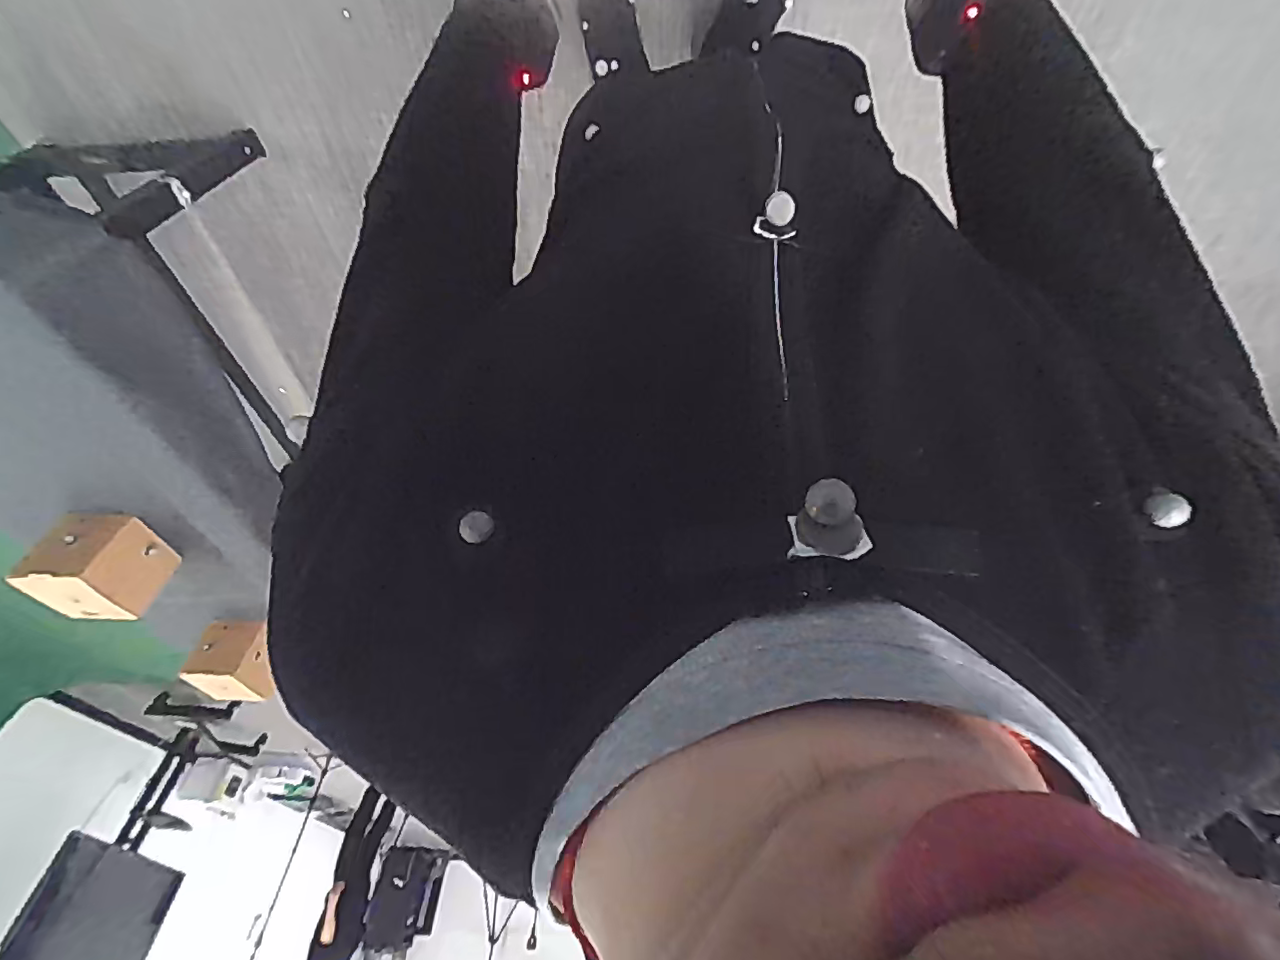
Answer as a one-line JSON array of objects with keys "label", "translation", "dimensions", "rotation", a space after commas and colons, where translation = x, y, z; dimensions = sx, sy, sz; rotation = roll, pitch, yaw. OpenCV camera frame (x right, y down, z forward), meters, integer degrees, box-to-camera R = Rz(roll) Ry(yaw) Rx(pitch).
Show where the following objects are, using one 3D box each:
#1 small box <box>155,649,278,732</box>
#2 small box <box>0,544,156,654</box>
[{"label": "small box", "translation": [-1.152, 0.578, 1.488], "dimensions": [0.168, 0.176, 0.179], "rotation": [-1, 137, 4]}, {"label": "small box", "translation": [-1.199, 0.248, 1.140], "dimensions": [0.168, 0.176, 0.179], "rotation": [-1, 136, 1]}]
